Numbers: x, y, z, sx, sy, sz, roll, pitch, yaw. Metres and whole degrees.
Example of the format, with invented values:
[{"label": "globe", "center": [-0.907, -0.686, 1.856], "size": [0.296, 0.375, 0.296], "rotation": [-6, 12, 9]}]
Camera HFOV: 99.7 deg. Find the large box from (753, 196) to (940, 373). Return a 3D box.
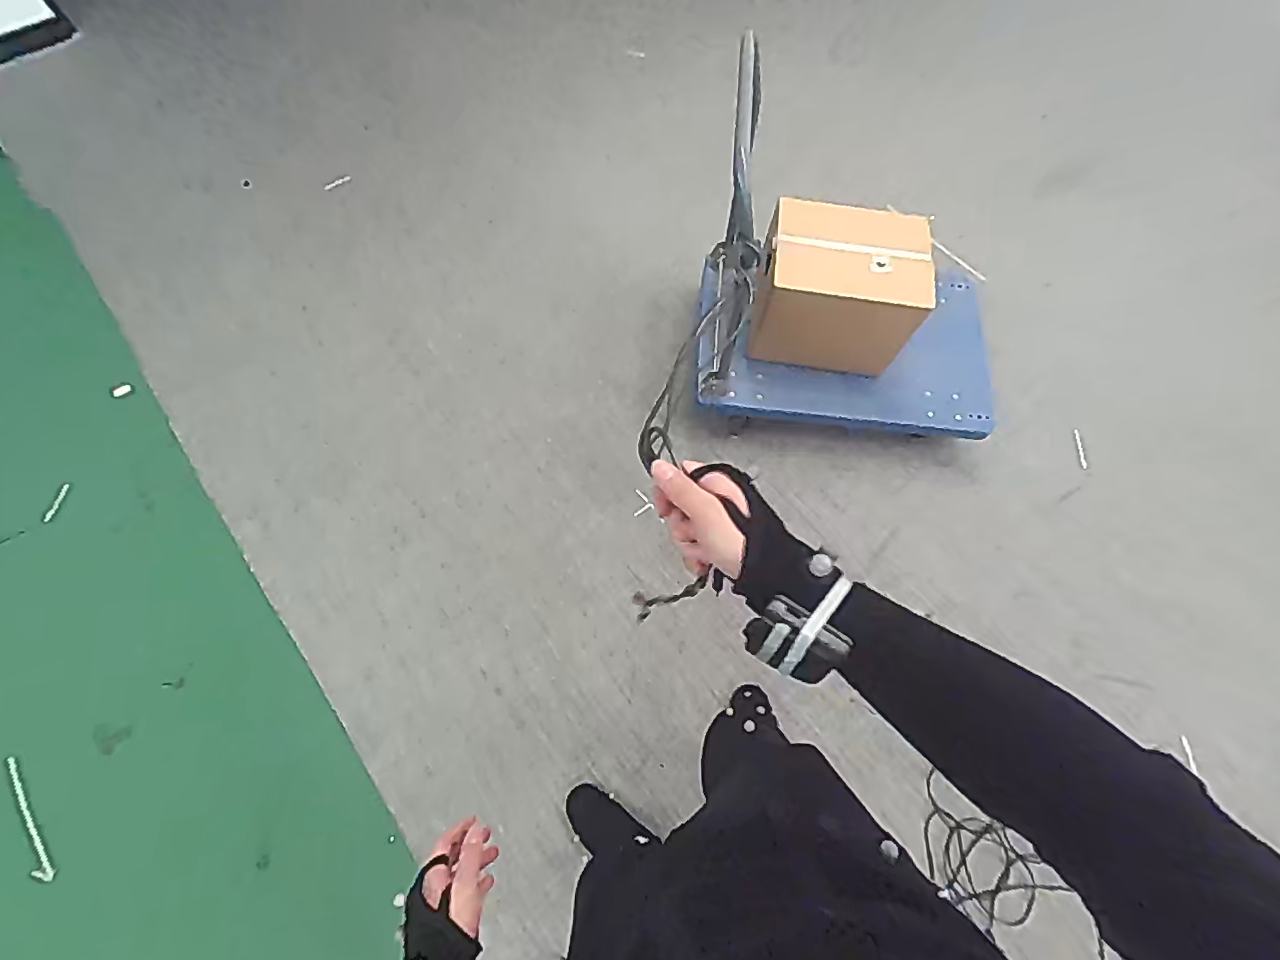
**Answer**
[{"label": "large box", "center": [0.553, -0.533, 1.517], "size": [0.408, 0.320, 0.320], "rotation": [9, 68, 1]}]
